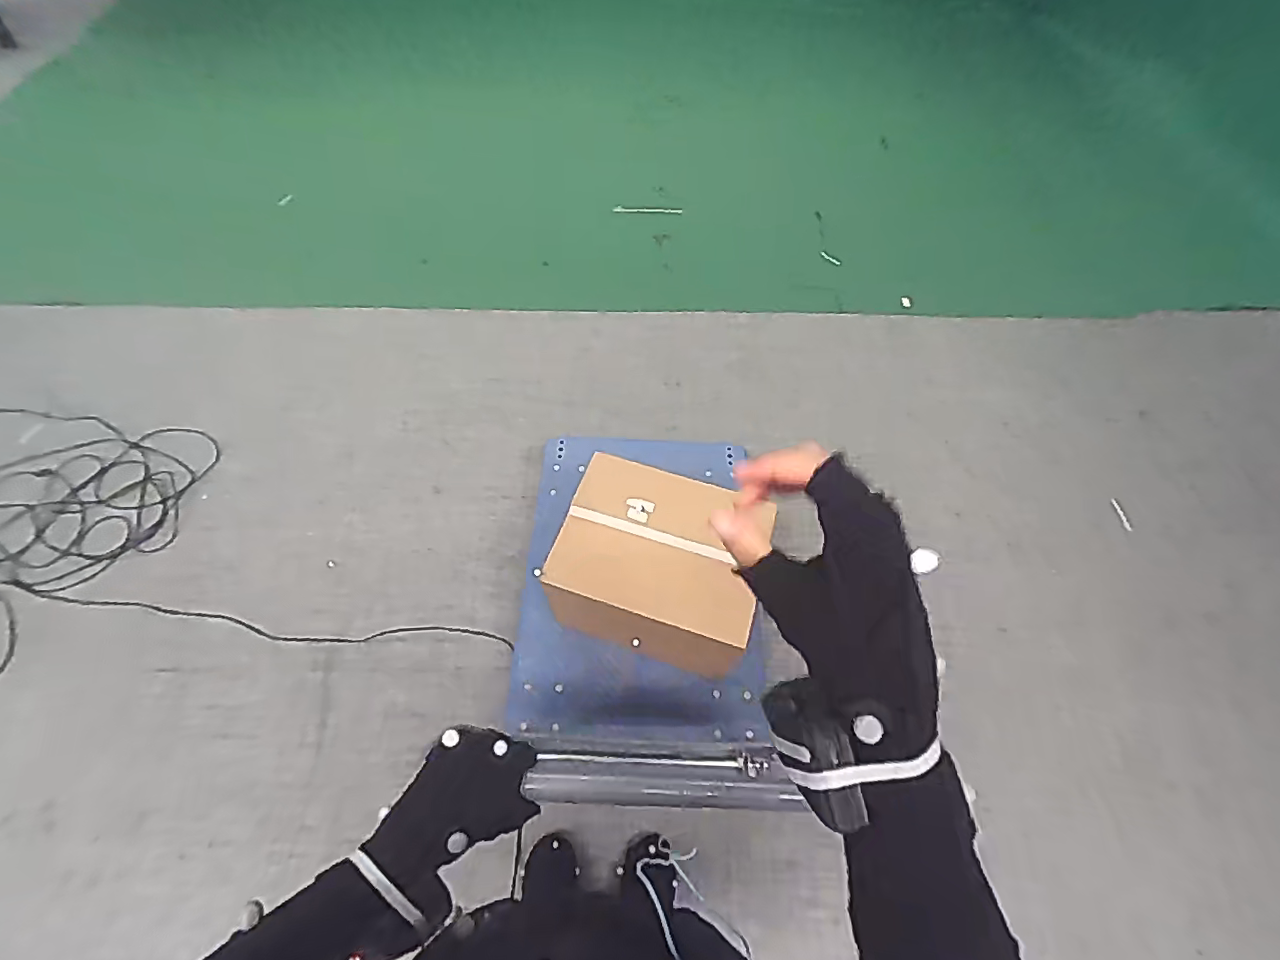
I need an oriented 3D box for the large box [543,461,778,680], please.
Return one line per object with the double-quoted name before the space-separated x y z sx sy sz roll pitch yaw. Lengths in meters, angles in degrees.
"large box" 0.052 0.208 1.190 0.408 0.320 0.320 16 60 9
